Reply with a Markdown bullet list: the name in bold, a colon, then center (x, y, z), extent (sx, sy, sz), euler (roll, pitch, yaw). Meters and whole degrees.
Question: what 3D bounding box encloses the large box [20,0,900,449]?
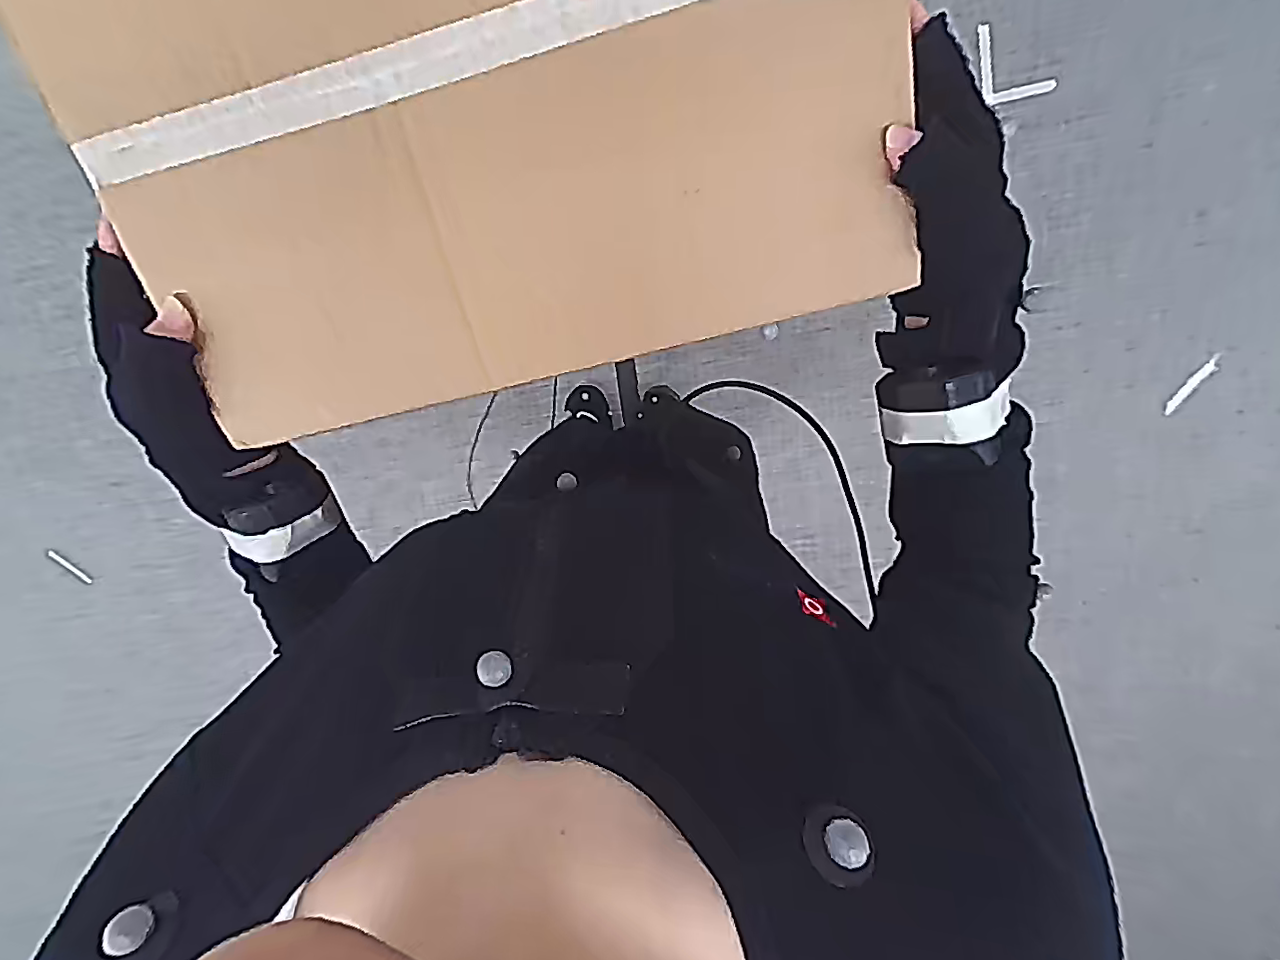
- **large box**: center (-0.080, -0.255, 0.404), extent (0.408, 0.320, 0.320), euler (-12, 110, 6)
